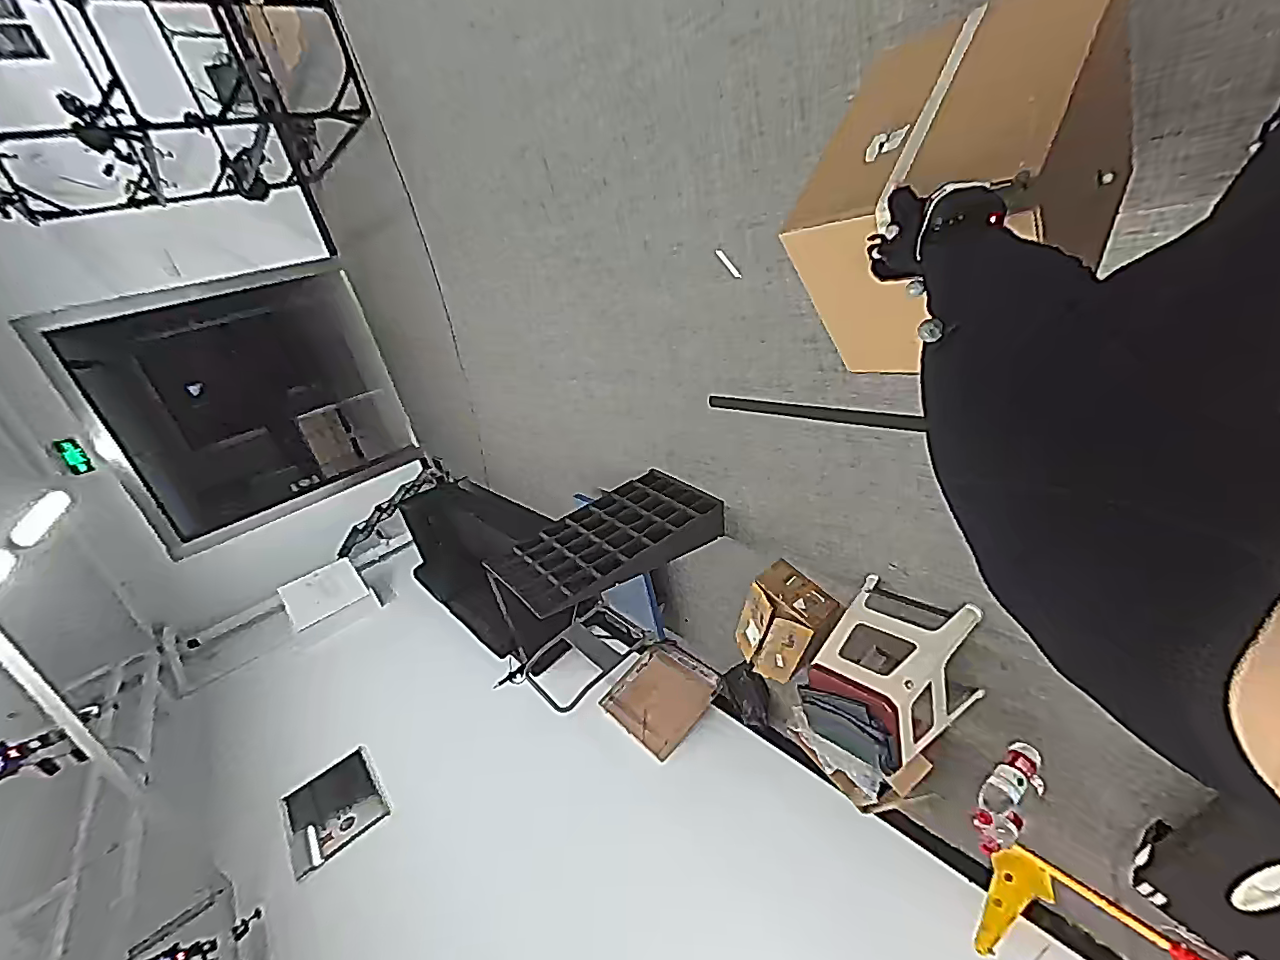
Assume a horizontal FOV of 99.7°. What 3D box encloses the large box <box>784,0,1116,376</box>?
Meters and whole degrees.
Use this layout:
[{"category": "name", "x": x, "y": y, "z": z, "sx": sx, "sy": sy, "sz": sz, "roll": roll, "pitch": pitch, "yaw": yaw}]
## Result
[{"category": "large box", "x": 0.485, "y": -0.412, "z": 0.822, "sx": 0.320, "sy": 0.408, "sz": 0.320, "roll": 11, "pitch": 157, "yaw": 48}]
